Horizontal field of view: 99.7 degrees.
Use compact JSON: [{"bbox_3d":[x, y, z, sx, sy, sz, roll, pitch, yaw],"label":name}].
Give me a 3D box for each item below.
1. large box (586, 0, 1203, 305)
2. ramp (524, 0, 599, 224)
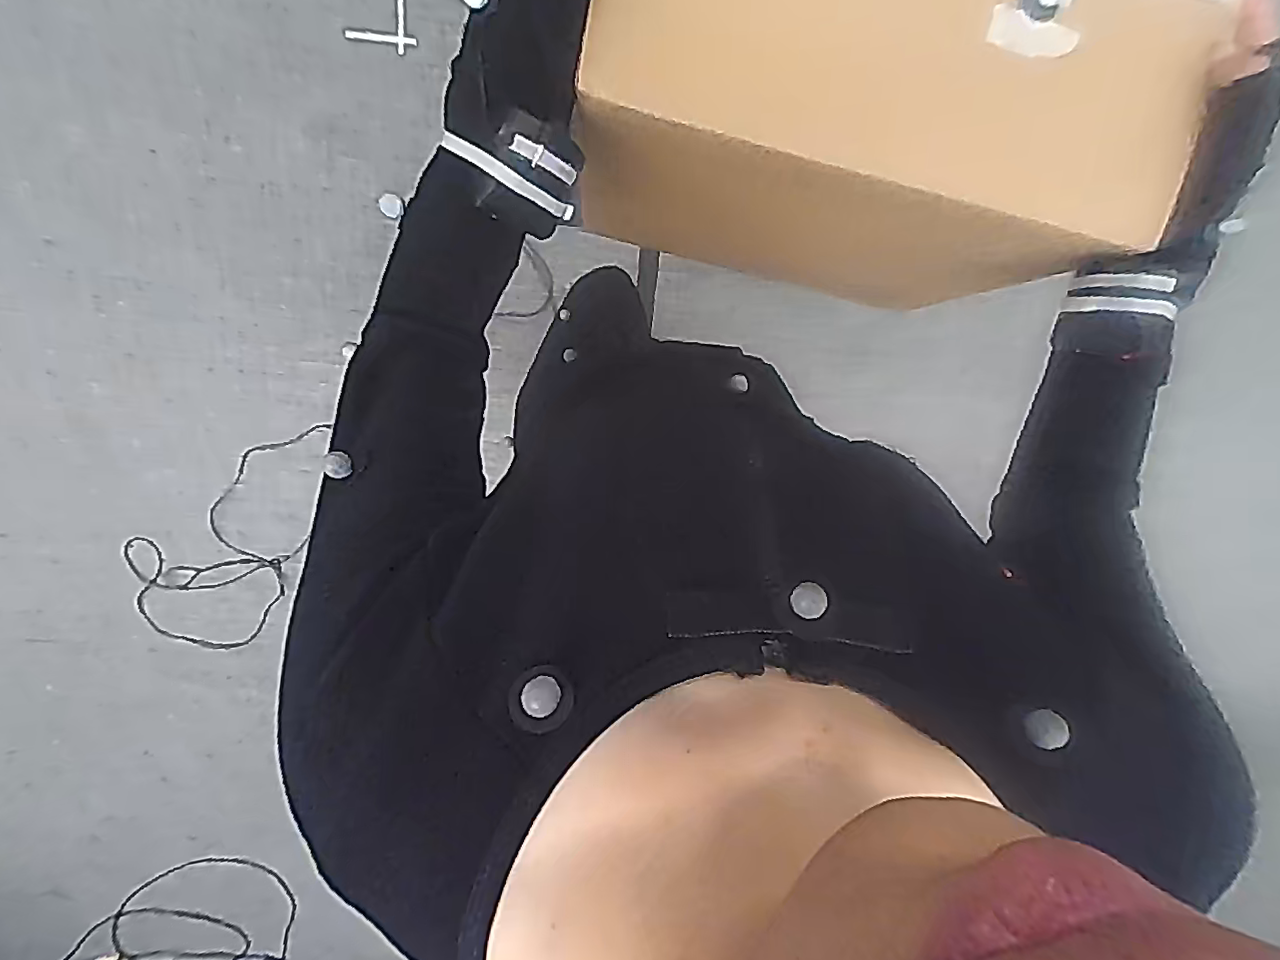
[{"bbox_3d":[0.171,-0.377,0.492,0.408,0.320,0.320,11,98,-7],"label":"large box"},{"bbox_3d":[0.006,-1.075,1.129,0.509,0.206,0.991,2,105,-5],"label":"ramp"}]
